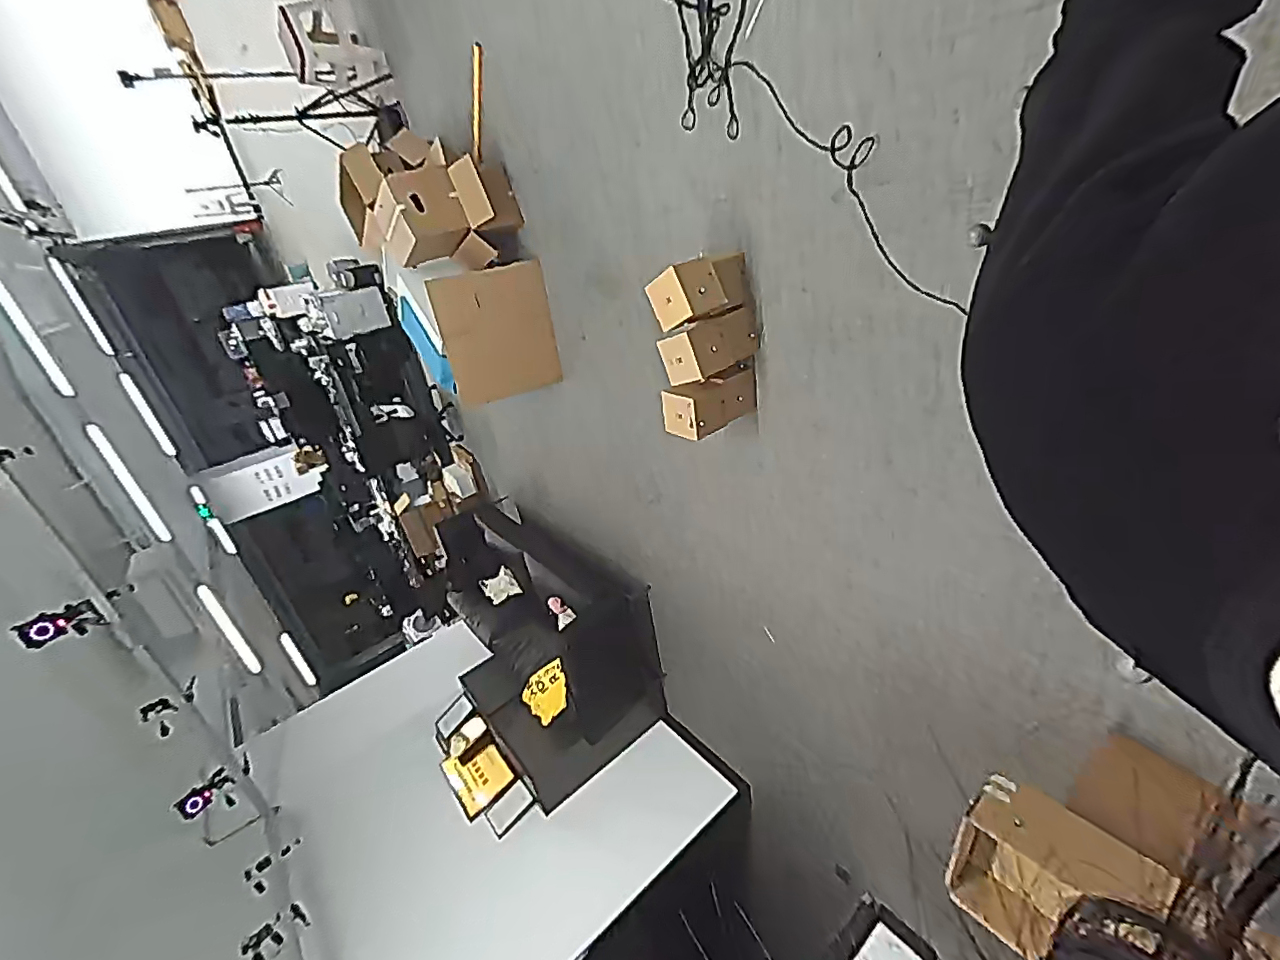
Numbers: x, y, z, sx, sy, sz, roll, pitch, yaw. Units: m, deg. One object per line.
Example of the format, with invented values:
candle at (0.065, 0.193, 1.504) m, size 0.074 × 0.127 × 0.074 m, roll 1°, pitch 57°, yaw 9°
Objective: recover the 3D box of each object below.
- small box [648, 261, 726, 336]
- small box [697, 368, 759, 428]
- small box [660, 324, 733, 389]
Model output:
small box at (0.165, -0.608, 1.810) m, size 0.179 × 0.176 × 0.168 m, roll -14°, pitch 102°, yaw 60°
small box at (0.342, -0.327, 2.094) m, size 0.168 × 0.176 × 0.179 m, roll 24°, pitch 134°, yaw 48°
small box at (0.206, -0.433, 1.892) m, size 0.179 × 0.176 × 0.168 m, roll 0°, pitch 114°, yaw 57°
